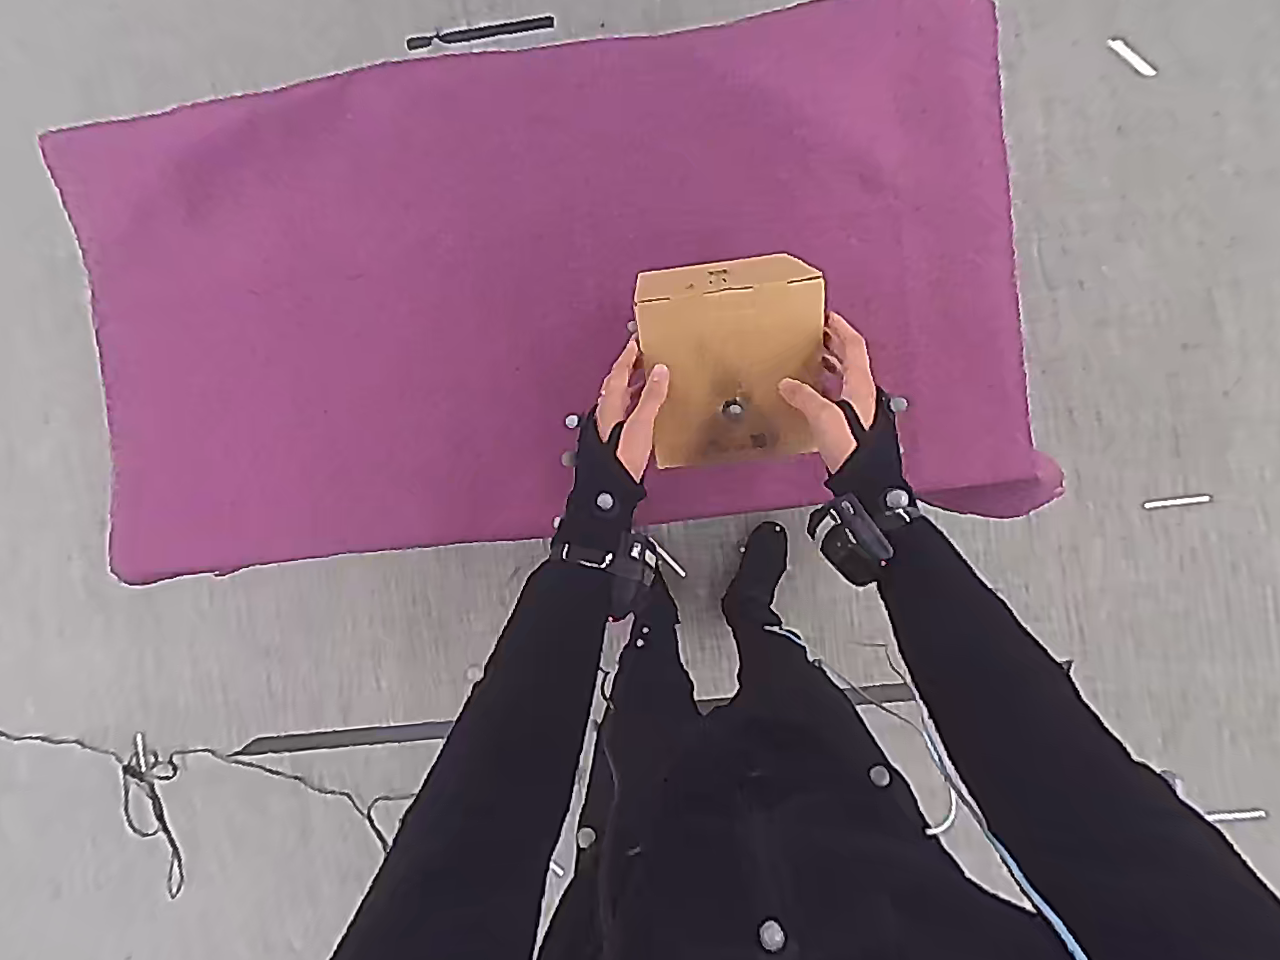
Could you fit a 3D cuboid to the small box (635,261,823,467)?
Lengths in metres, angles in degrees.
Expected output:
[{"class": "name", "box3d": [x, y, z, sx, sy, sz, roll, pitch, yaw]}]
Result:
[{"class": "small box", "box3d": [0.089, -0.129, 0.582, 0.168, 0.179, 0.176, -6, 118, 5]}]
